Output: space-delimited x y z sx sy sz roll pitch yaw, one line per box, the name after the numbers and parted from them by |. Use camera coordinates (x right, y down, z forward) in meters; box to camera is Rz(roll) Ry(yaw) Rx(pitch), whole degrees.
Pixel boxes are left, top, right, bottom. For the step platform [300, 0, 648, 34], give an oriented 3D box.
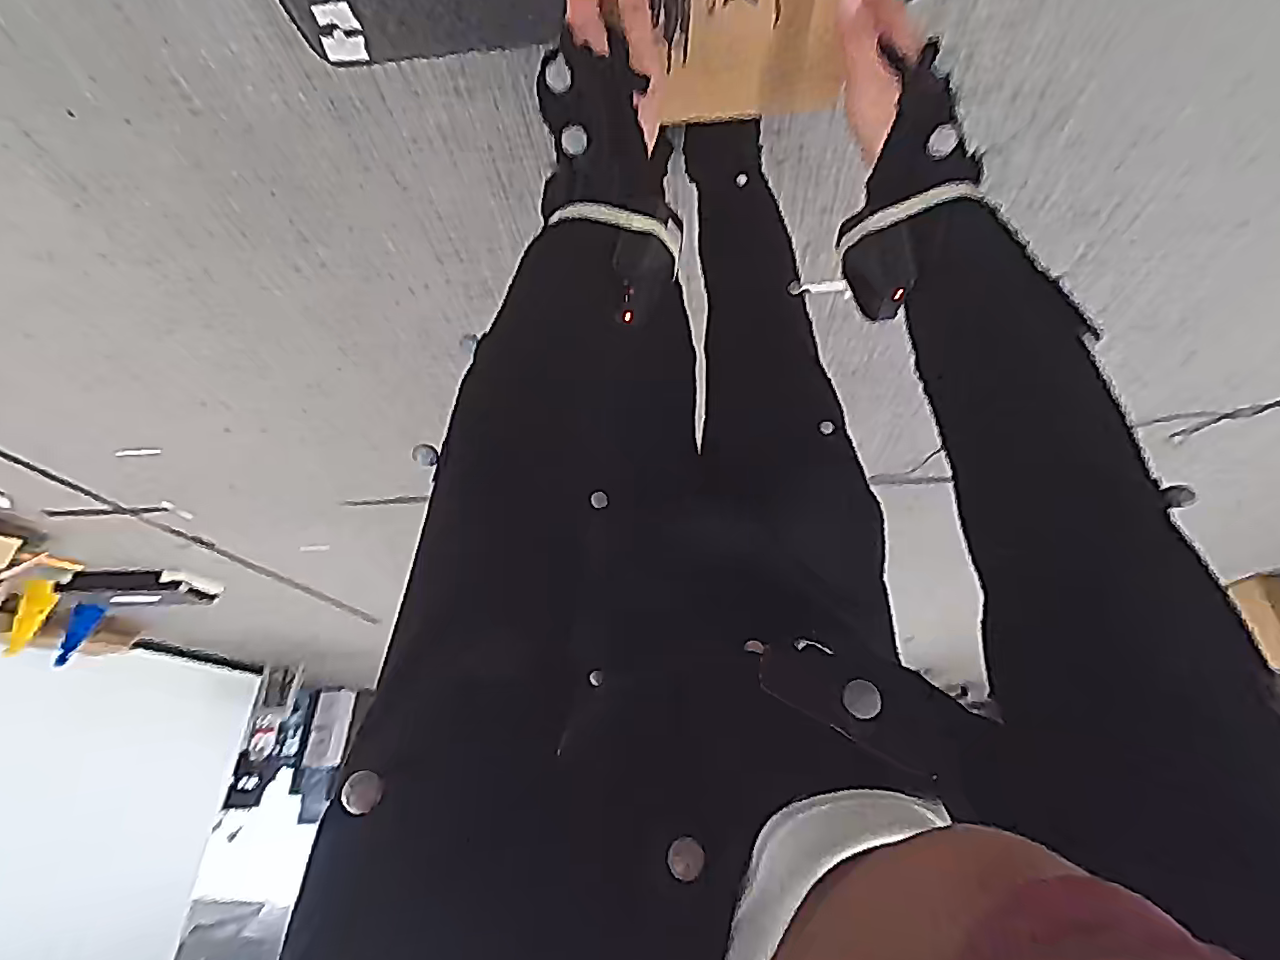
-0.033 -0.621 0.471 0.684 0.204 0.286 -2 151 5 | step platform
